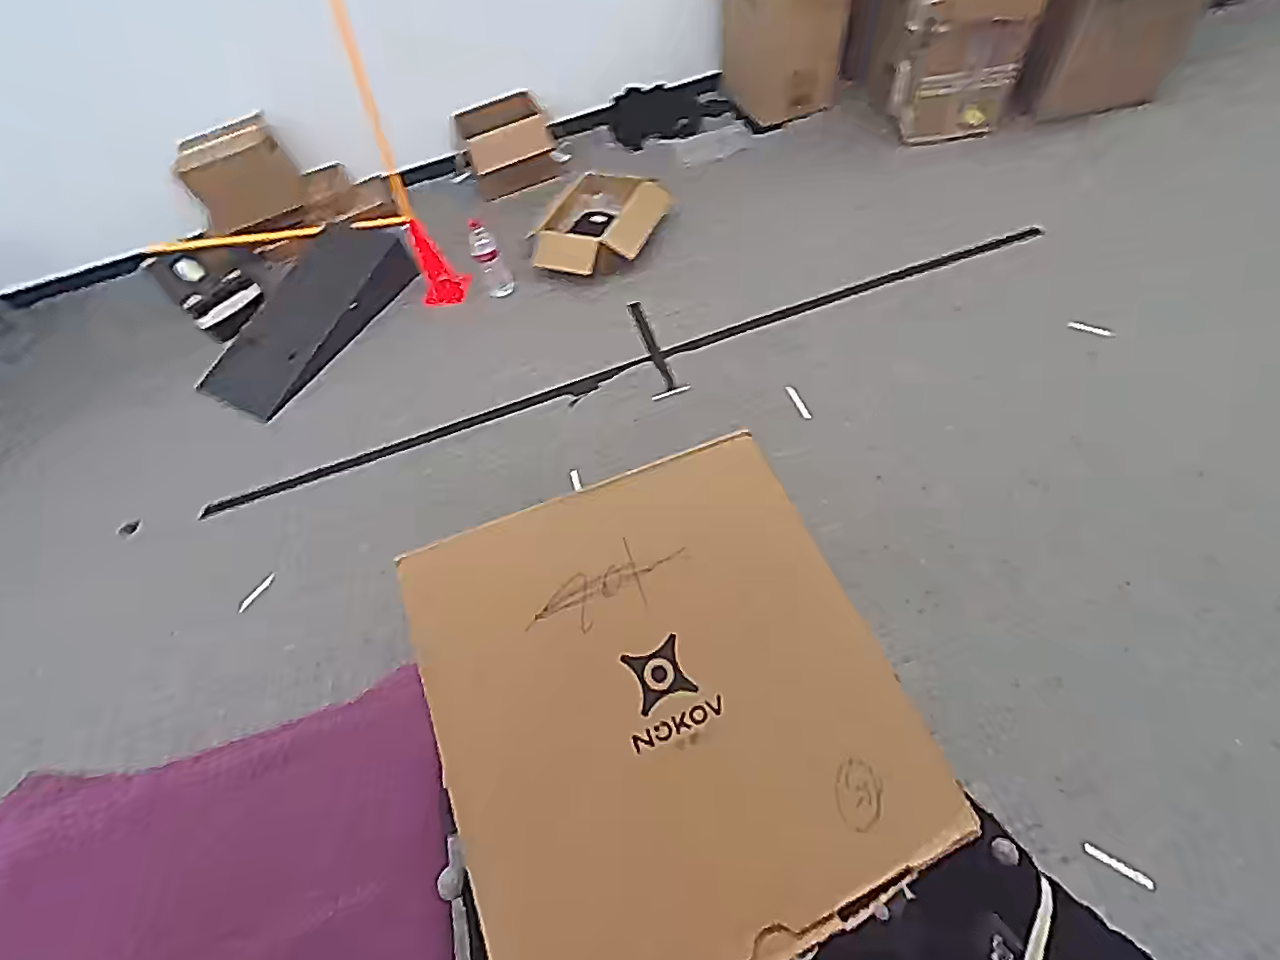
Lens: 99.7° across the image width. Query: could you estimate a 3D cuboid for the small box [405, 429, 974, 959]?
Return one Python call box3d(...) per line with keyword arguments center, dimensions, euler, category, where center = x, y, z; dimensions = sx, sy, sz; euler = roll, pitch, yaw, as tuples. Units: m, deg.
box3d(center=(0.008, 0.108, 0.276), dimensions=(0.168, 0.176, 0.179), euler=(-20, 66, -12), category="small box")
